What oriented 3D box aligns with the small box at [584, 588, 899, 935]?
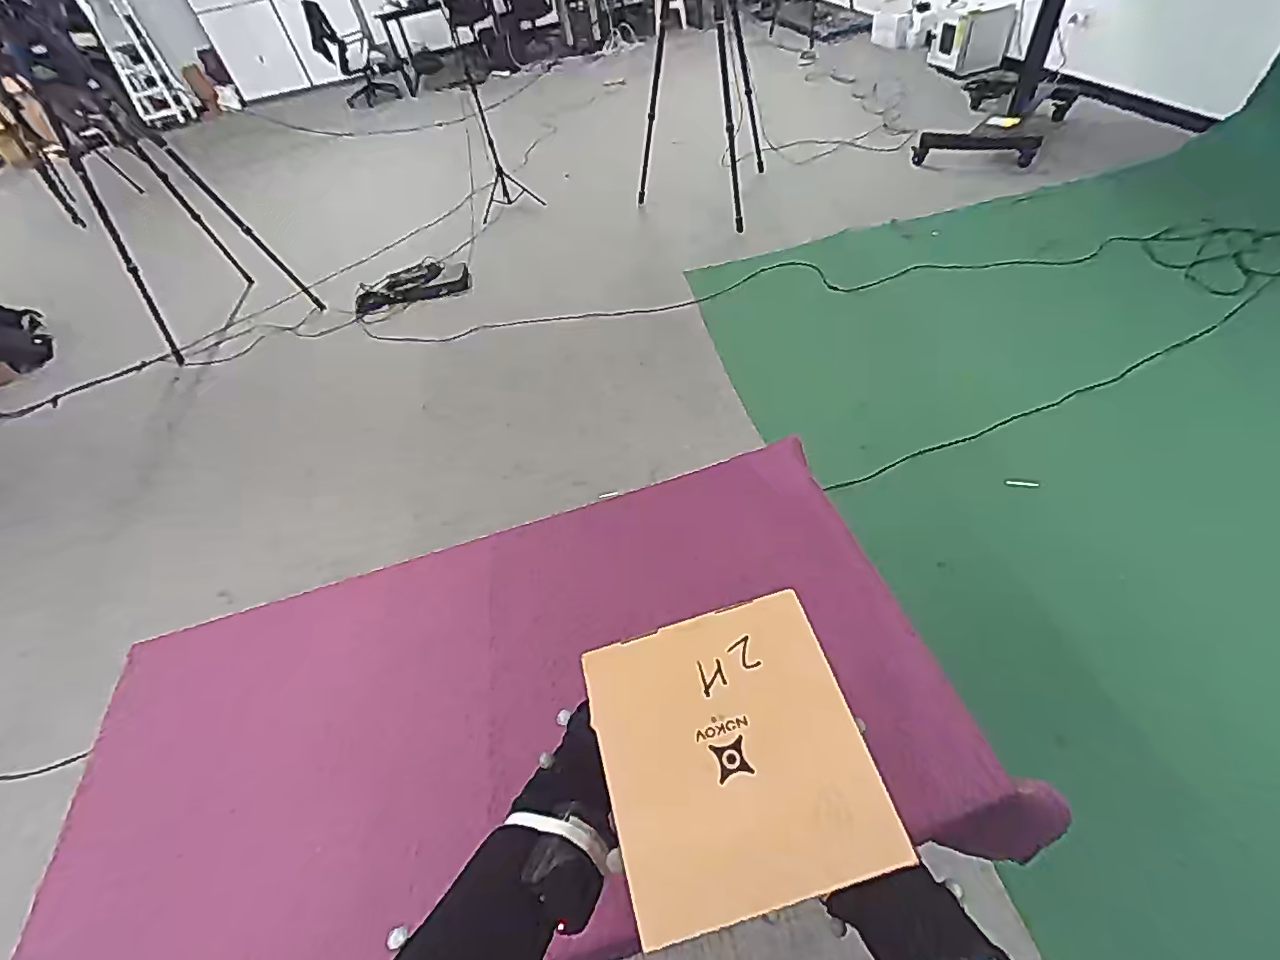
[{"bbox_3d":[0.067,0.214,0.424,0.168,0.176,0.179,-16,55,-2],"label":"small box"}]
